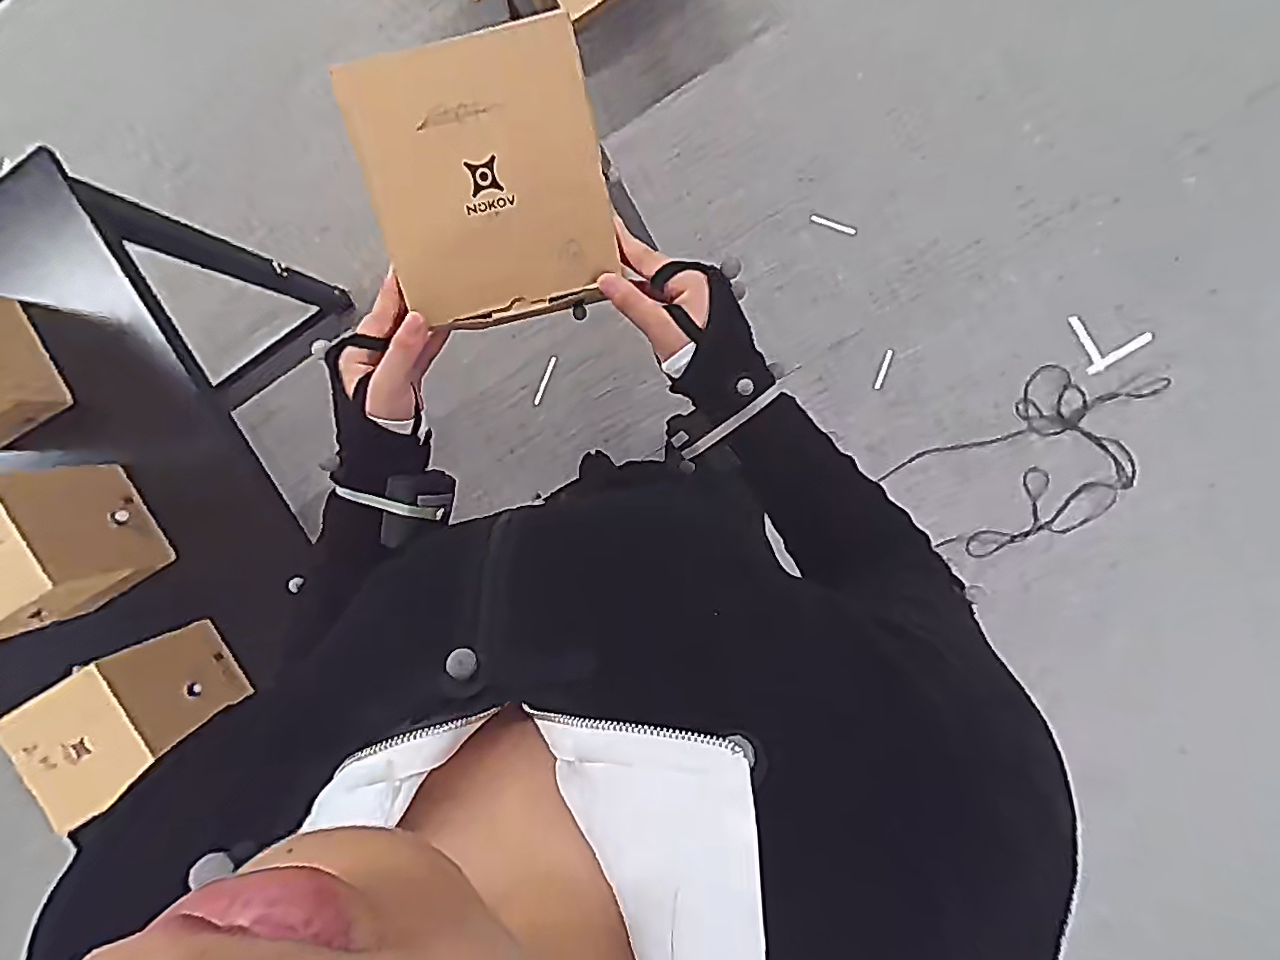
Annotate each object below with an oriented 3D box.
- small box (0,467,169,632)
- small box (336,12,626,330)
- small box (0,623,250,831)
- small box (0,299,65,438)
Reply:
[{"bbox_3d":[-0.820,0.094,0.741,0.179,0.176,0.168,-30,93,5],"label":"small box"},{"bbox_3d":[-0.108,-0.233,0.458,0.168,0.176,0.179,-12,106,3],"label":"small box"},{"bbox_3d":[-0.694,0.327,0.752,0.179,0.176,0.168,-30,92,6],"label":"small box"},{"bbox_3d":[-0.960,-0.150,0.729,0.168,0.176,0.179,-28,94,6],"label":"small box"}]
